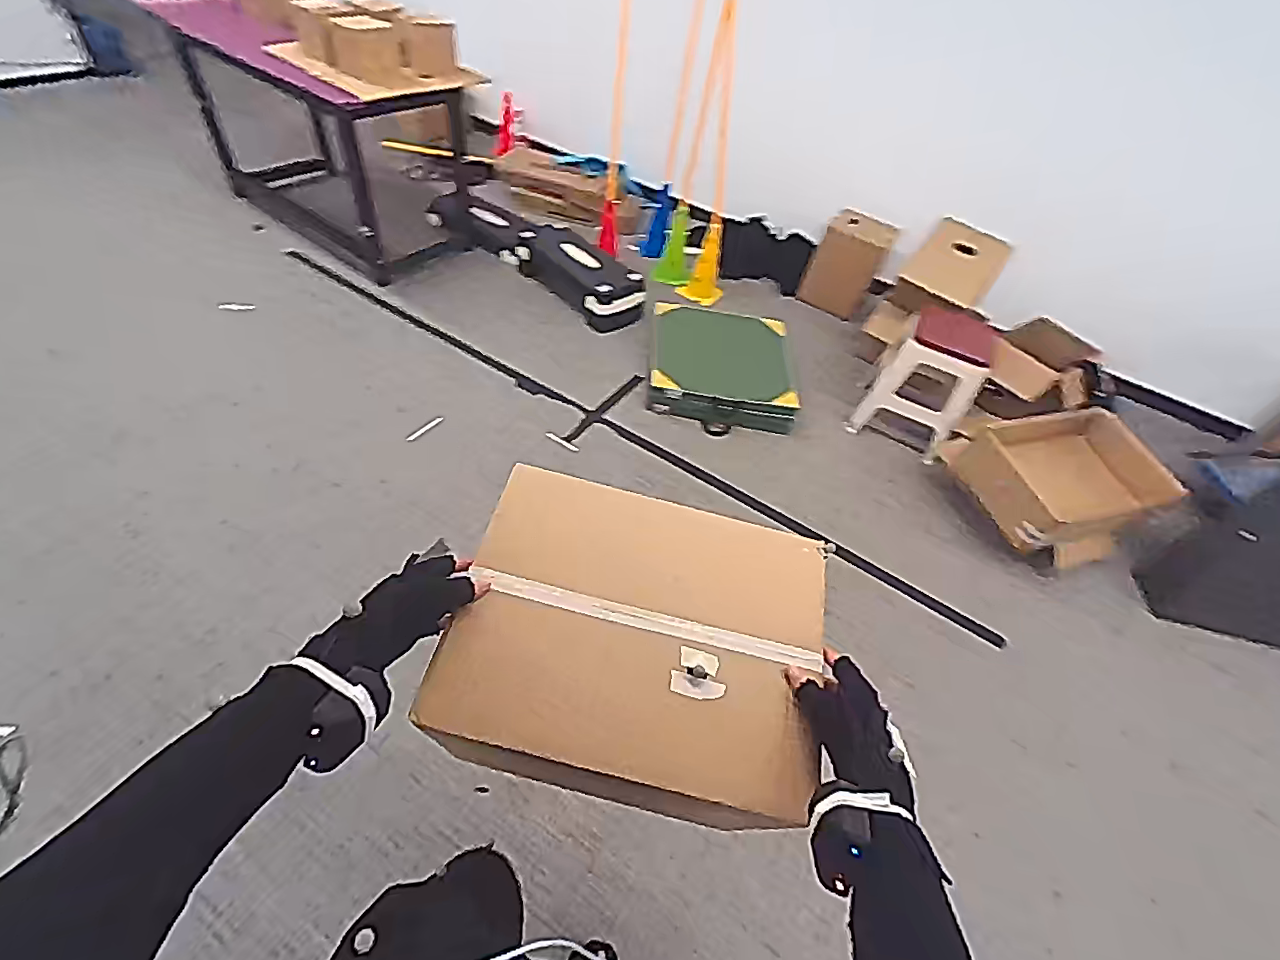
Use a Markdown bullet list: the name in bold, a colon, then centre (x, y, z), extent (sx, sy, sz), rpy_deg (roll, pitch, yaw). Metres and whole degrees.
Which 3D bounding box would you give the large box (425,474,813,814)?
- **large box**: centre (-0.018, 0.239, 0.741), extent (0.408, 0.320, 0.320), rpy_deg (14, 58, -1)
